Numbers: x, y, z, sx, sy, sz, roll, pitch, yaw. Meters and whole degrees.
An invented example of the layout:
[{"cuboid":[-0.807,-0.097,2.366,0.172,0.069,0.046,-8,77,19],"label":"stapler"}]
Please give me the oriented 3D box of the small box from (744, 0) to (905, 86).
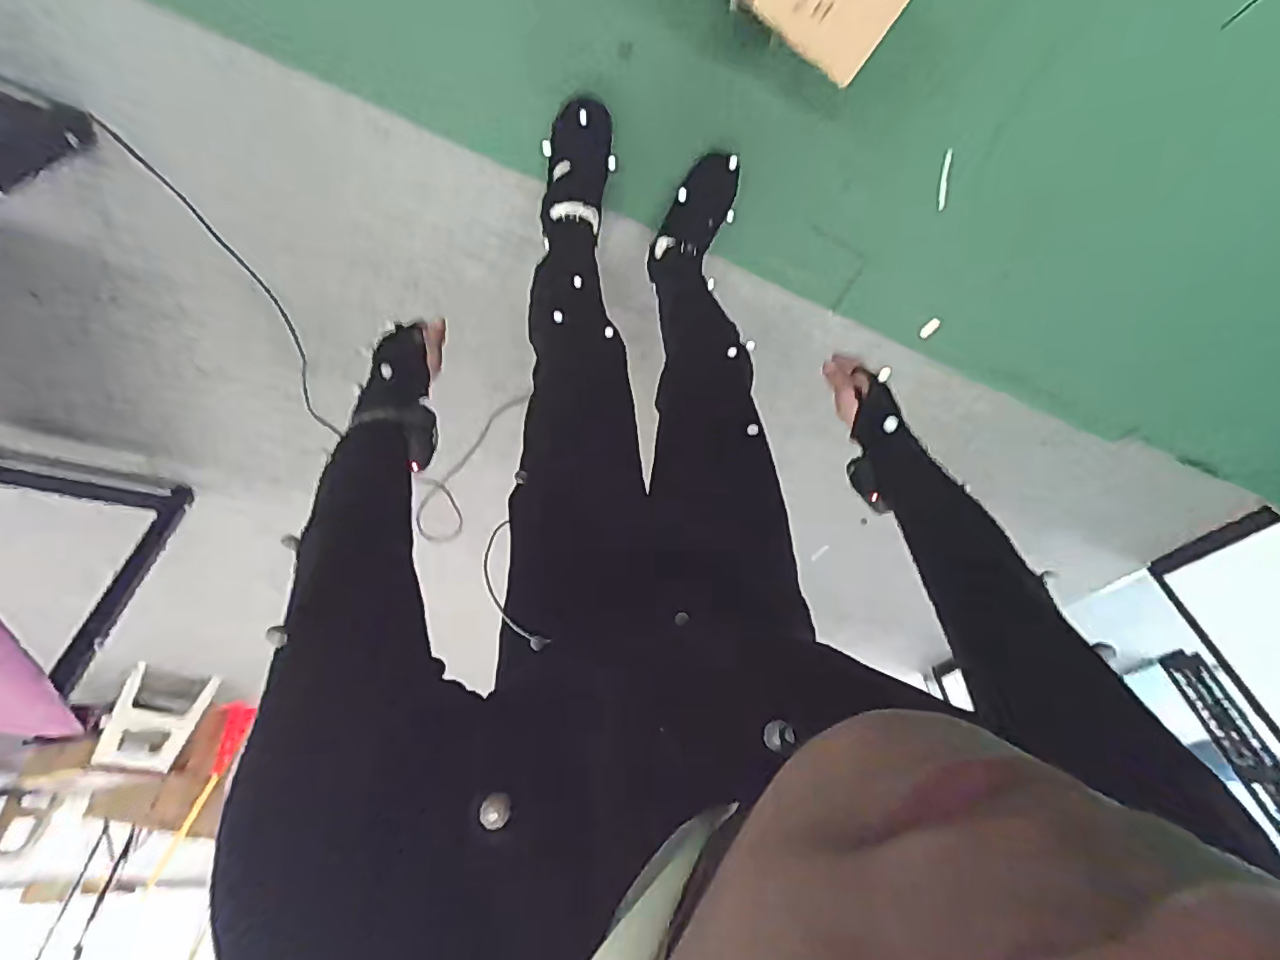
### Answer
[{"cuboid":[0.242,-0.664,0.690,0.168,0.176,0.179,20,134,-25],"label":"small box"}]
